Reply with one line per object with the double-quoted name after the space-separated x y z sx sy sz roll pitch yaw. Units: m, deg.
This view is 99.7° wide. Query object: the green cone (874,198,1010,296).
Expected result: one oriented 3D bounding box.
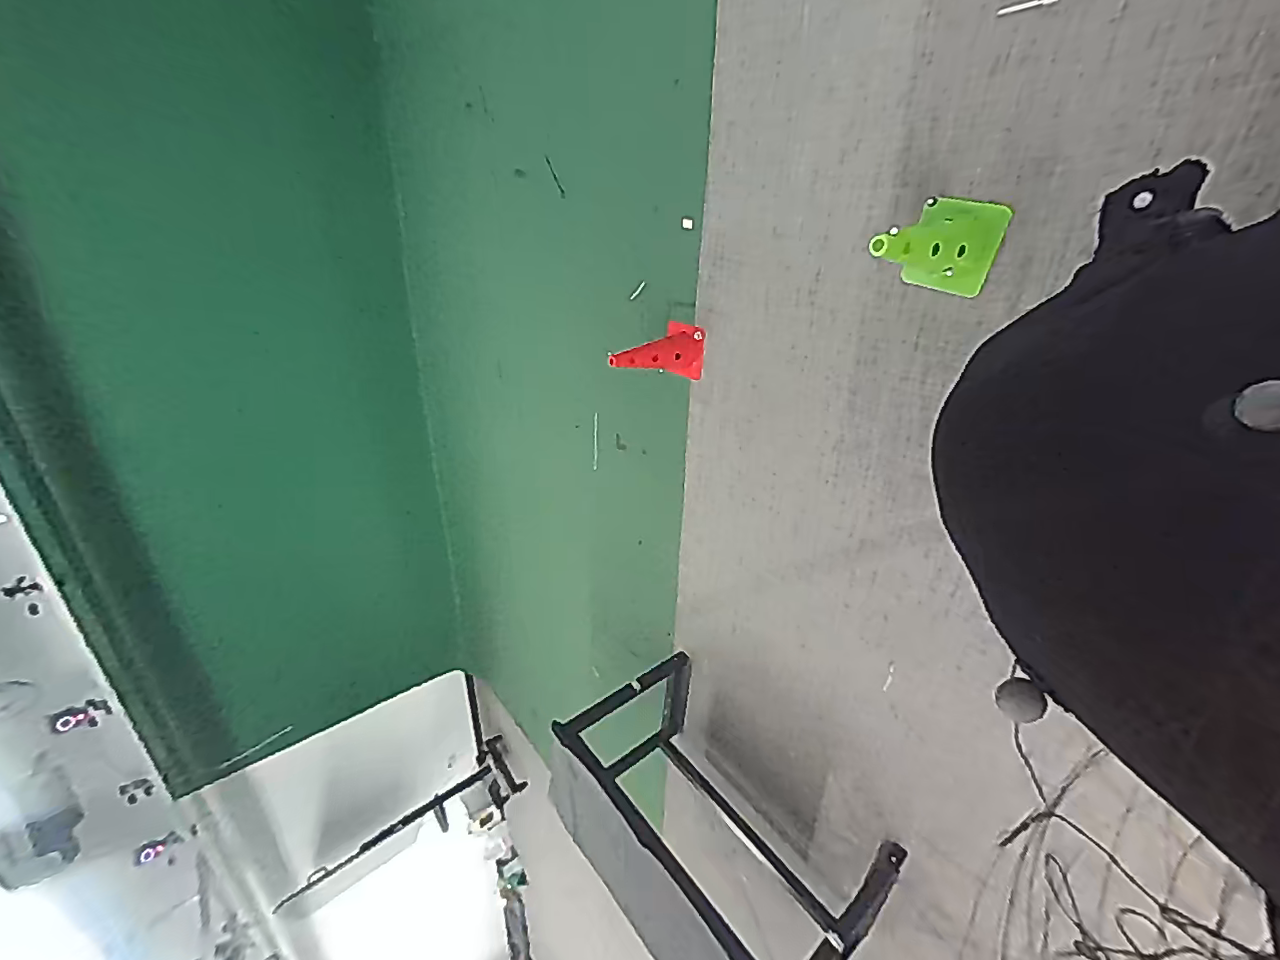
0.626 -0.525 1.209 0.202 0.368 0.200 35 130 40 "green cone"
